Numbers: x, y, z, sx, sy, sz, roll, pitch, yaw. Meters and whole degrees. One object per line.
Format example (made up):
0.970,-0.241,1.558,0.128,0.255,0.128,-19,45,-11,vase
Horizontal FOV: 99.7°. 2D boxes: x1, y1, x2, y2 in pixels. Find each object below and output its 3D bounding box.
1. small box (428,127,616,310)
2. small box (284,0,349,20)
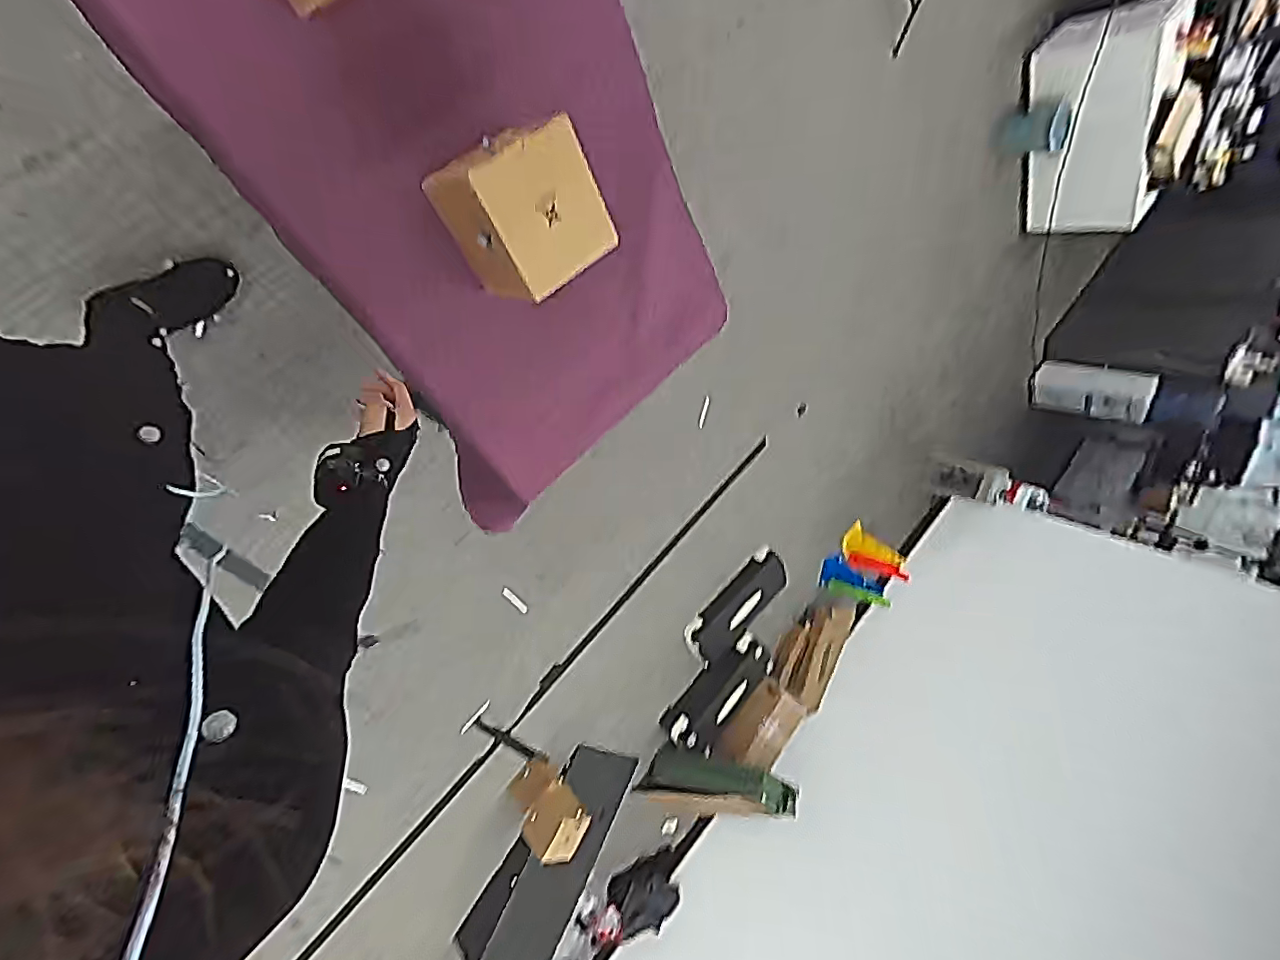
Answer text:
-0.172,-0.374,0.787,0.168,0.176,0.179,-43,129,-18,small box
-0.328,-0.617,0.548,0.179,0.176,0.168,-47,132,-15,small box
